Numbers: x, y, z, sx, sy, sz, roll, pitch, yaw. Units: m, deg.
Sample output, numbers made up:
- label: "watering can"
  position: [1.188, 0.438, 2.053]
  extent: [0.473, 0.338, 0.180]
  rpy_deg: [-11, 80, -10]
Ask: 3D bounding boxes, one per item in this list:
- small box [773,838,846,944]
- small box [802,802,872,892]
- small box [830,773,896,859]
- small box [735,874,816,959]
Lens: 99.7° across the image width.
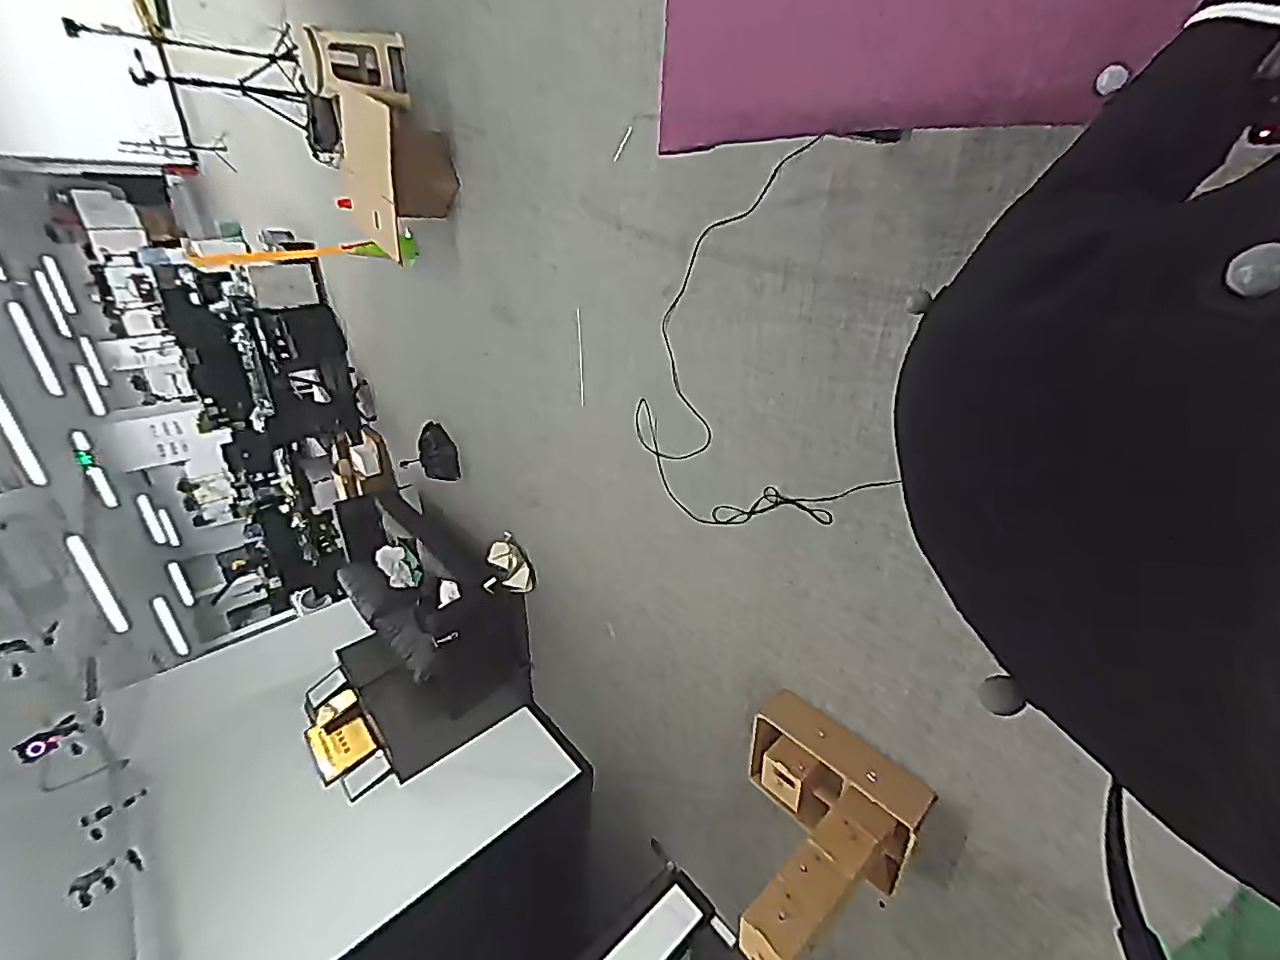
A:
- label: "small box"
  position: [0.533, 1.295, 1.719]
  extent: [0.168, 0.176, 0.179]
  rpy_deg: [26, 127, 44]
- label: "small box"
  position: [0.654, 1.239, 1.813]
  extent: [0.168, 0.176, 0.179]
  rpy_deg: [27, 128, 42]
- label: "small box"
  position: [0.776, 1.187, 1.908]
  extent: [0.168, 0.176, 0.179]
  rpy_deg: [28, 128, 41]
- label: "small box"
  position: [0.409, 1.348, 1.626]
  extent: [0.168, 0.176, 0.179]
  rpy_deg: [26, 127, 45]
